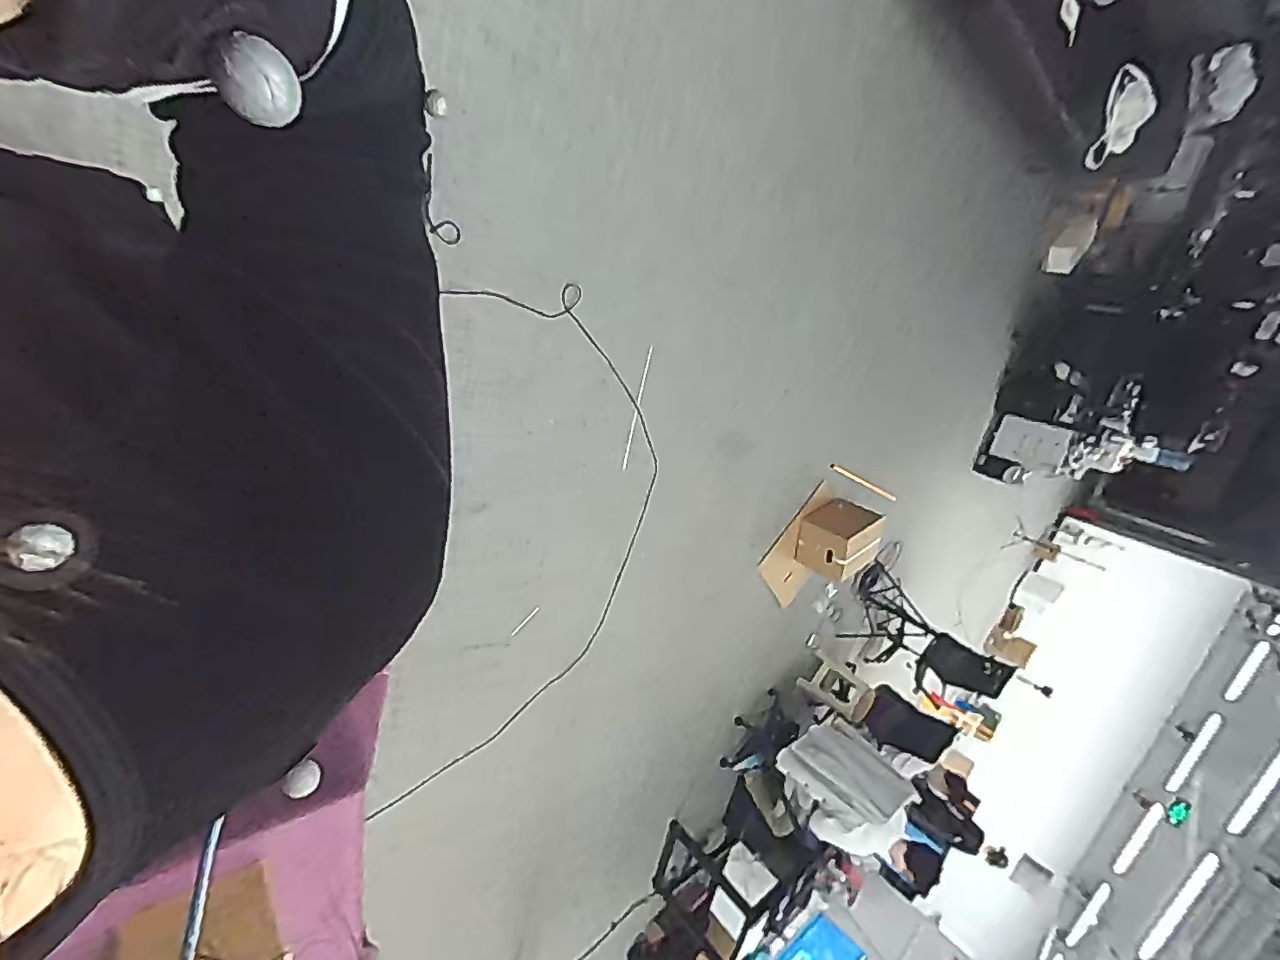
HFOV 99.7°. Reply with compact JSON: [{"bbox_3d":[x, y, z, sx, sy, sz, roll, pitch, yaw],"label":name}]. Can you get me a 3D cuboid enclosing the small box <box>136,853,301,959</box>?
[{"bbox_3d":[-0.625,0.713,0.806,0.179,0.176,0.168,-5,115,-41],"label":"small box"}]
